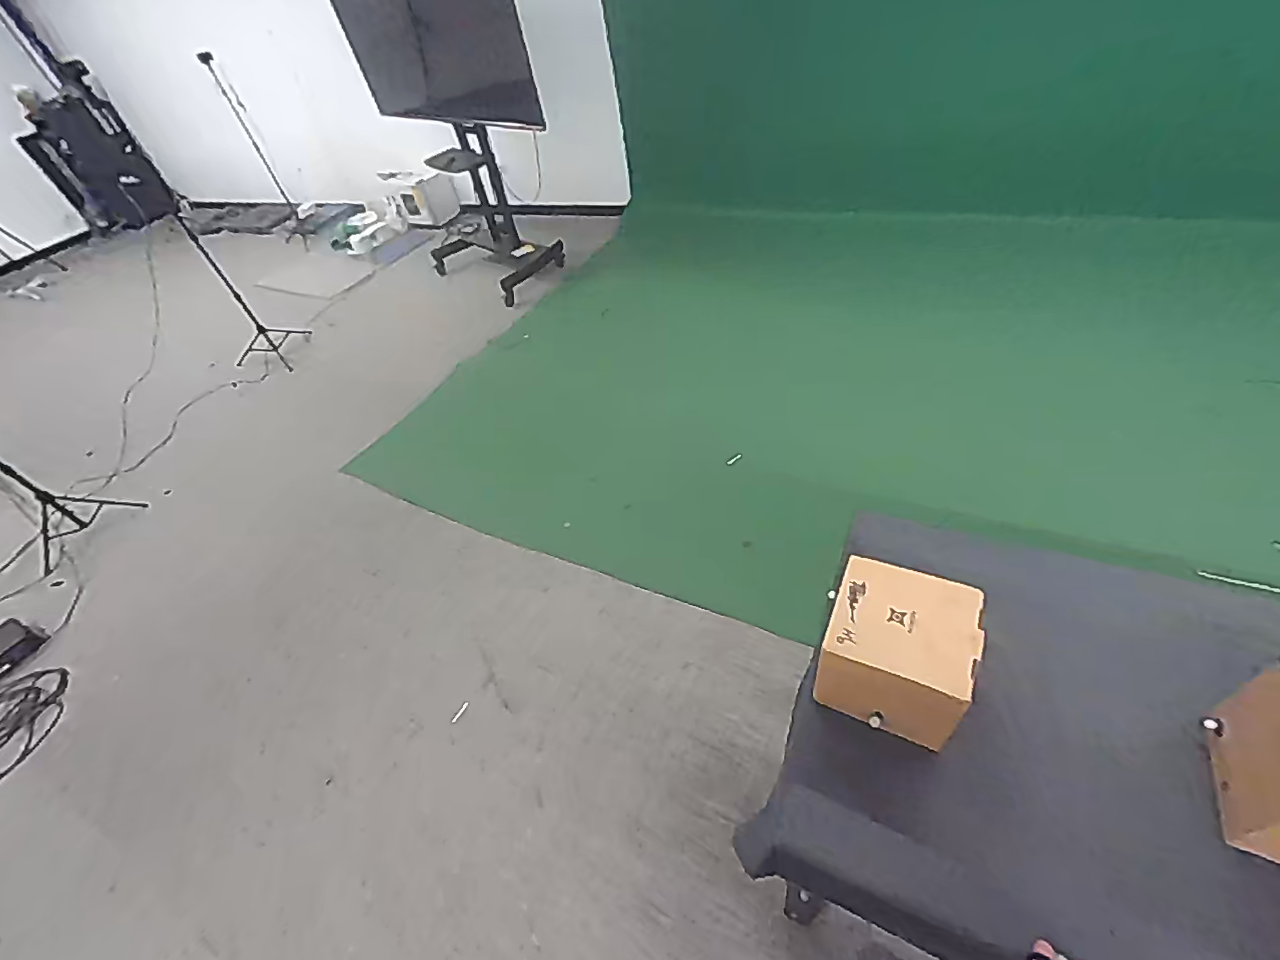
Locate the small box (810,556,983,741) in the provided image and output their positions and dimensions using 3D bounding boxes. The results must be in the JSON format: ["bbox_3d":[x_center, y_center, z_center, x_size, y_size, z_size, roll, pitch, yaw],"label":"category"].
[{"bbox_3d":[0.355,0.242,0.767,0.179,0.176,0.168,16,51,25],"label":"small box"}]

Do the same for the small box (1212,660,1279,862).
[{"bbox_3d":[0.776,0.330,0.583,0.179,0.176,0.168,15,51,24],"label":"small box"}]
